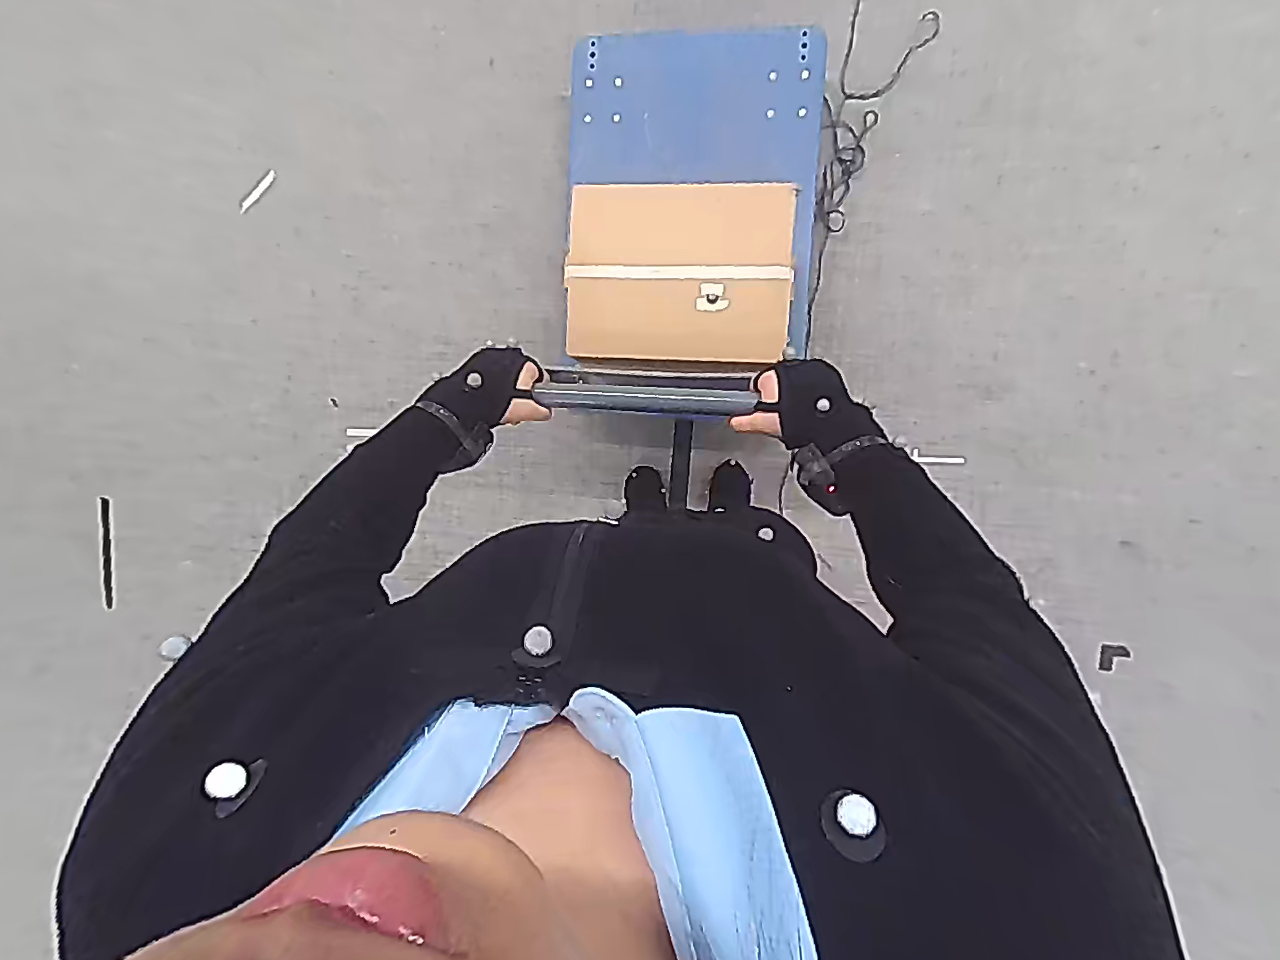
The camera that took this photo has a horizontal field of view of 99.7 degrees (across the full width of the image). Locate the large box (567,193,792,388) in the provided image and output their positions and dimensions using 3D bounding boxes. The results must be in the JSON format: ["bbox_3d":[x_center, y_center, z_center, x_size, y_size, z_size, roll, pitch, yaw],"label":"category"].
[{"bbox_3d":[0.079,-0.365,1.122,0.408,0.320,0.320,3,95,7],"label":"large box"}]
